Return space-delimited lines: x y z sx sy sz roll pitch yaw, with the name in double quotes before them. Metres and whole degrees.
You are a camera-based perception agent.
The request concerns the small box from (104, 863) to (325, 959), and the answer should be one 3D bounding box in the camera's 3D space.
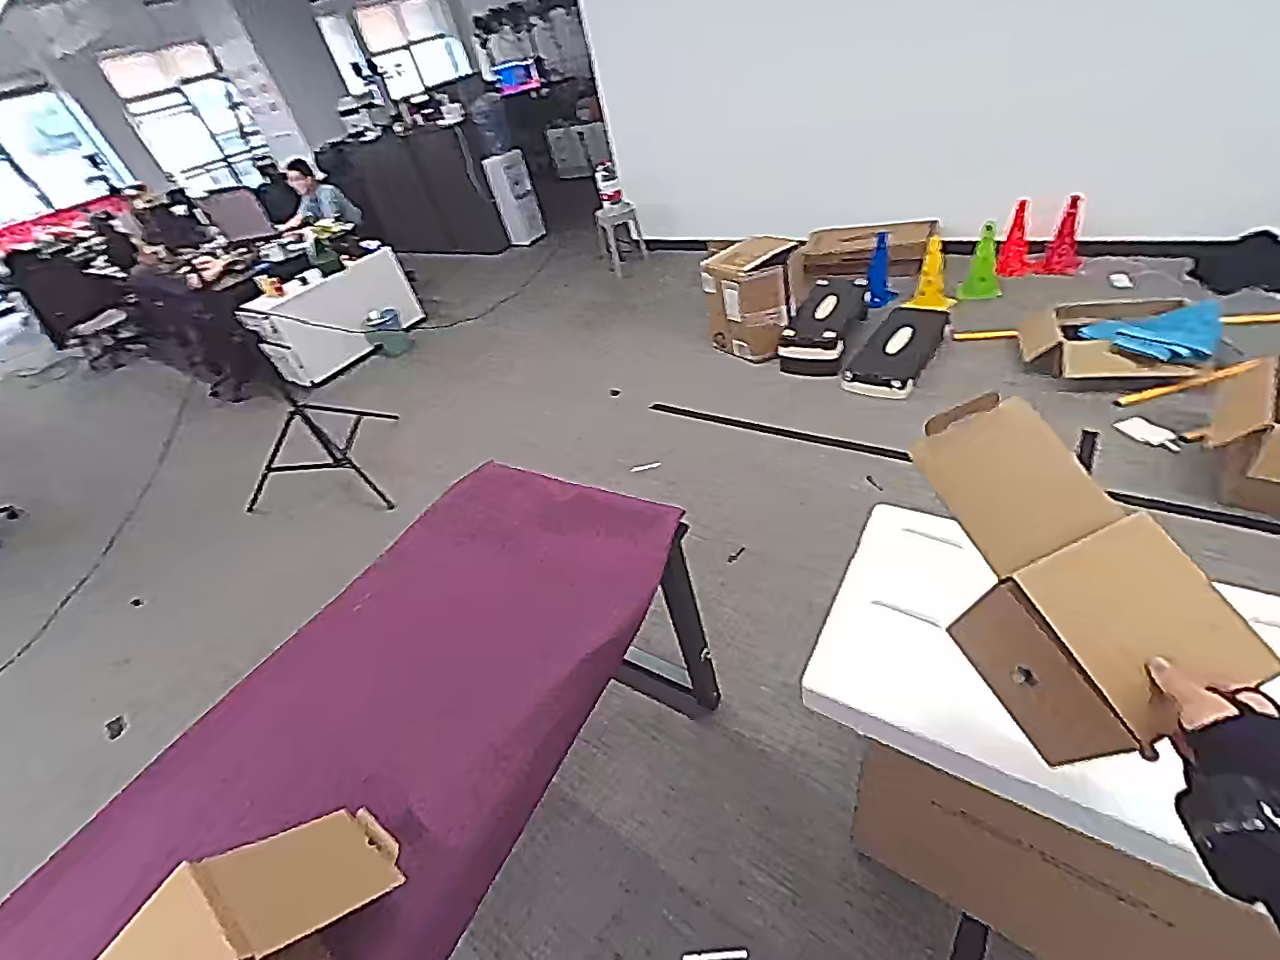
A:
"small box" -0.483 0.585 0.601 0.168 0.176 0.179 15 49 35
